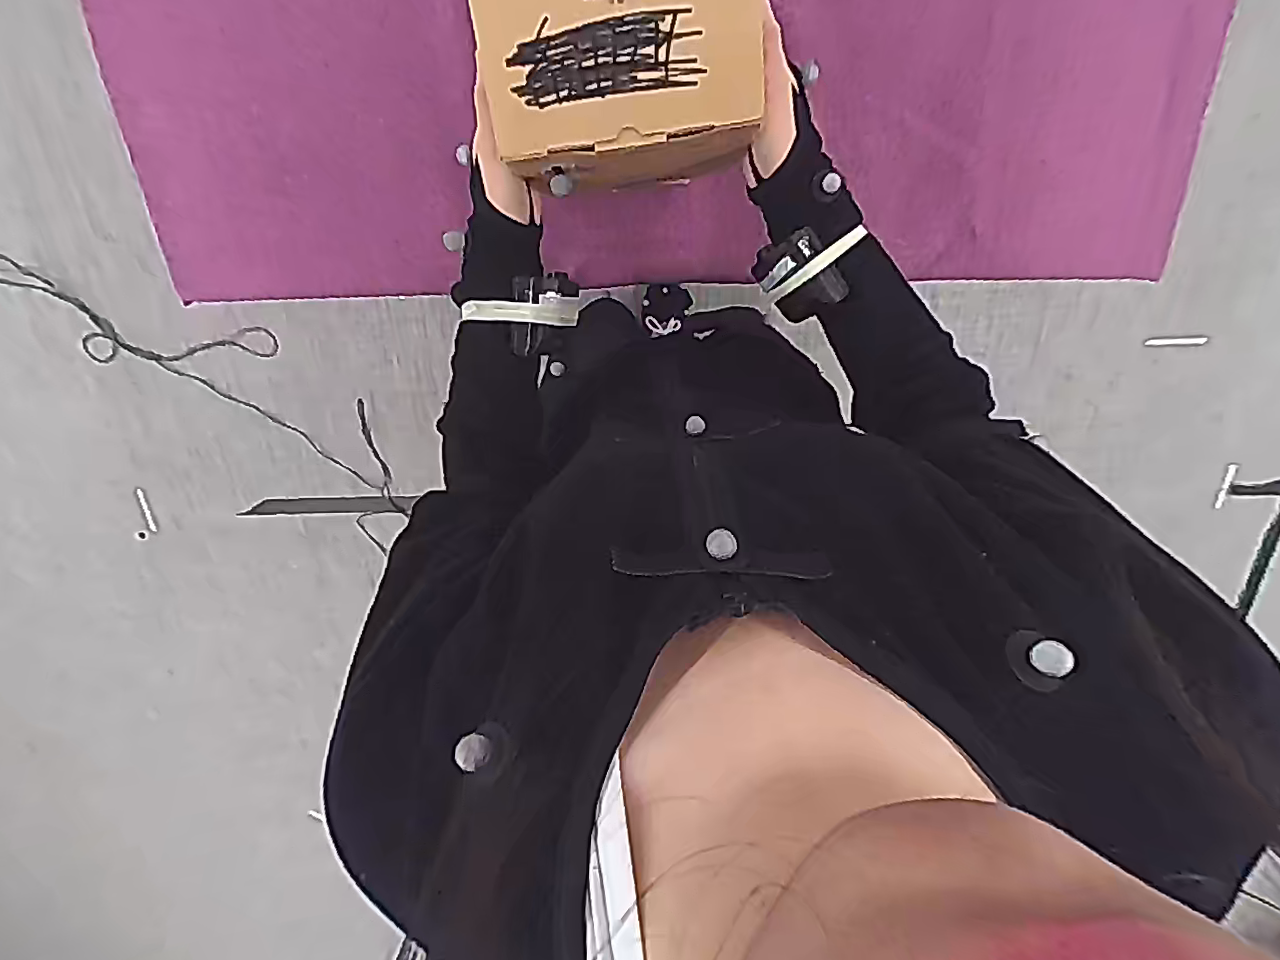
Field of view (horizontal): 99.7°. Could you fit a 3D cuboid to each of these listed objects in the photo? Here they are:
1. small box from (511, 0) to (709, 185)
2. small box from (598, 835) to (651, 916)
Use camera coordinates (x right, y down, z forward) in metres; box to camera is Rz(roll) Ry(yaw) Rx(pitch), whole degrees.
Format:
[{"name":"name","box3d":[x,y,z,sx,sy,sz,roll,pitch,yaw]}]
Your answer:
[{"name":"small box","box3d":[-0.025,-0.400,0.524,0.168,0.176,0.179,0,110,1]},{"name":"small box","box3d":[-0.053,1.453,1.991,0.168,0.176,0.179,-11,110,3]}]
